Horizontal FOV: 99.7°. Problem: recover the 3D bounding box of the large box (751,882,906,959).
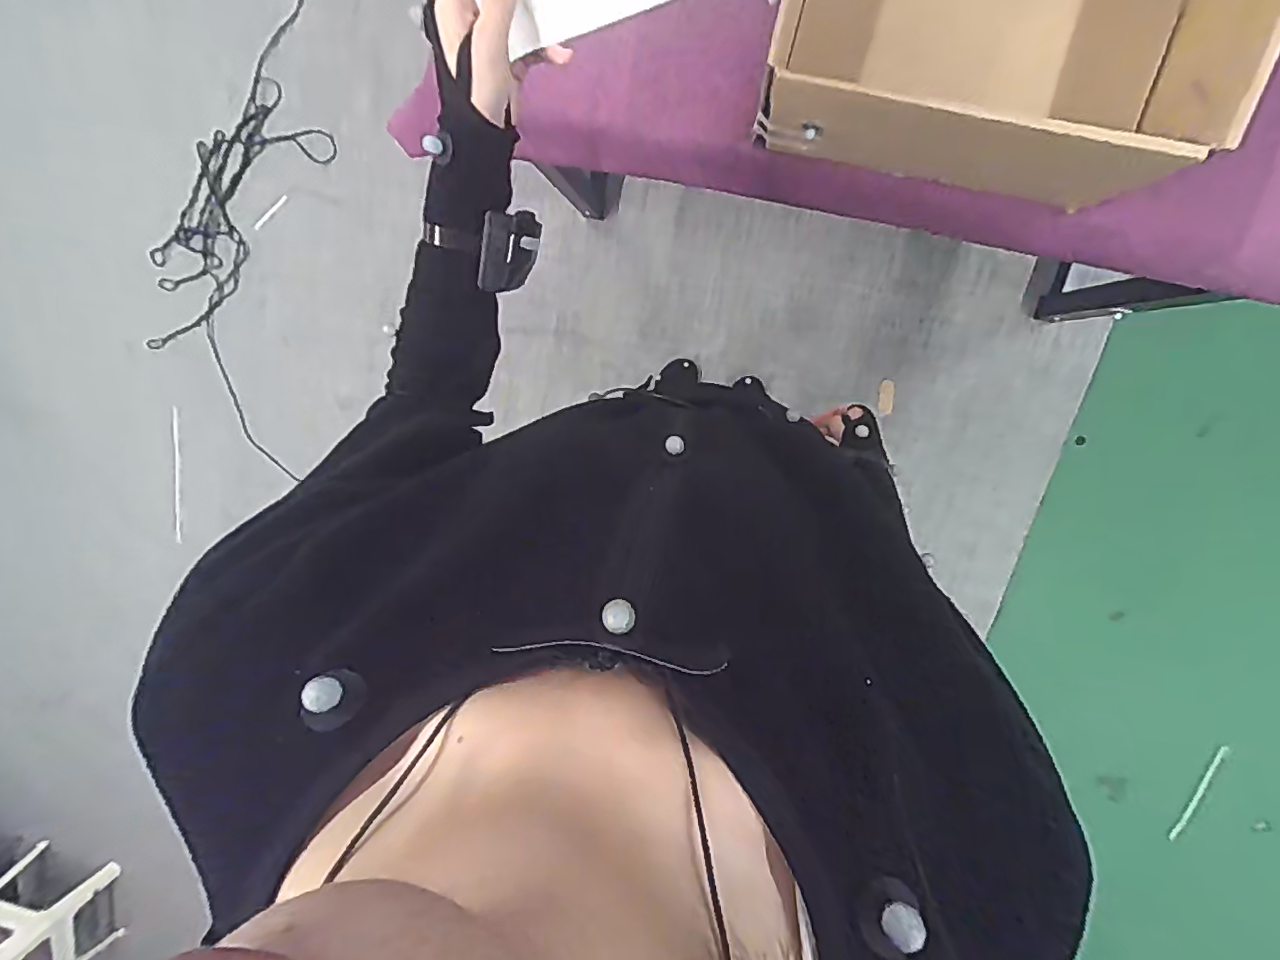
[{"bbox_3d":[0.541,1.449,1.577,0.408,0.320,0.320,-1,102,8],"label":"large box"}]
